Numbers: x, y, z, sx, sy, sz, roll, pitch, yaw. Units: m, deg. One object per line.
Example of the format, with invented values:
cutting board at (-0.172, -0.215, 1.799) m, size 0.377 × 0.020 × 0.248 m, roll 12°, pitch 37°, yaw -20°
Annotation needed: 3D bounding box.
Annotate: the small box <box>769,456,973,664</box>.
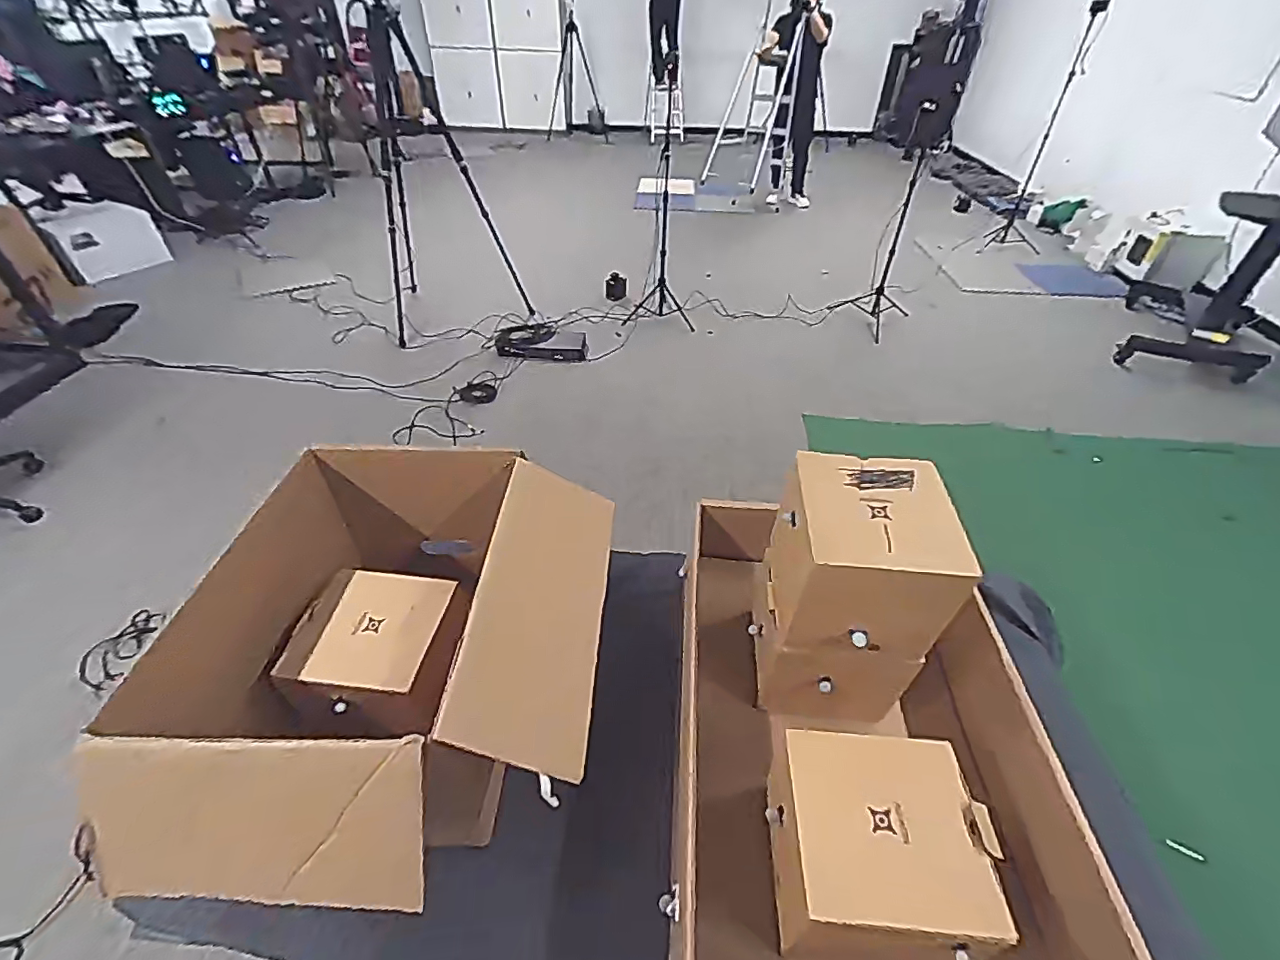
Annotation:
small box at (0.258, 0.096, 0.657) m, size 0.168 × 0.176 × 0.179 m, roll 5°, pitch 44°, yaw 3°
